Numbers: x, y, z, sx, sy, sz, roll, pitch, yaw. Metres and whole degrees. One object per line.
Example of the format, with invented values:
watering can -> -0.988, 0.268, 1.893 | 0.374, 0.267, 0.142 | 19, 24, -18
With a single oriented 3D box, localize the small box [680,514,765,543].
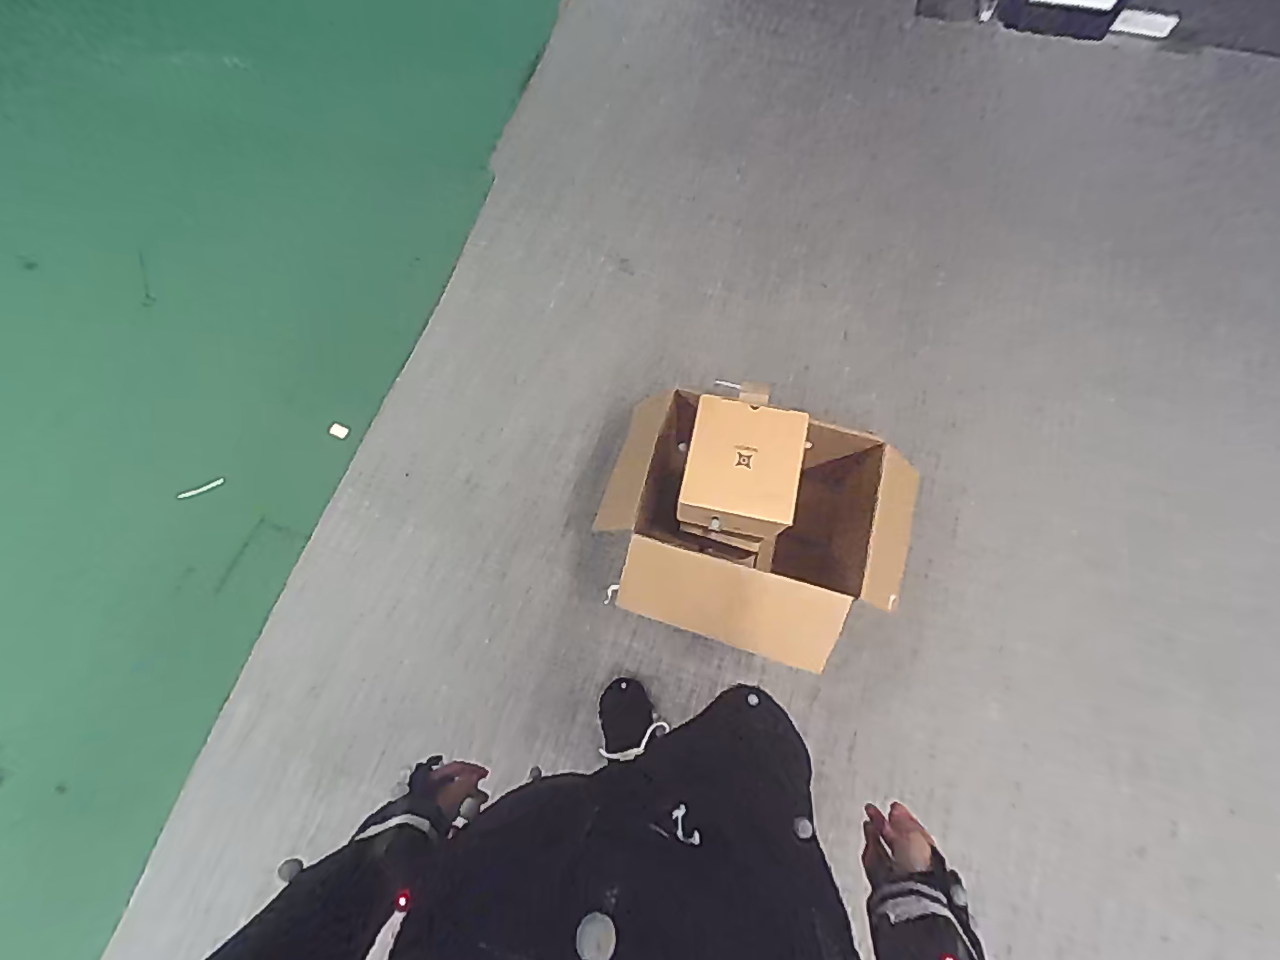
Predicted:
small box -> 0.173, 0.010, 1.027 | 0.168, 0.176, 0.179 | 14, 78, 6

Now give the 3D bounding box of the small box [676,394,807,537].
small box -> 0.156, -0.014, 0.867 | 0.168, 0.176, 0.179 | 11, 76, 6
